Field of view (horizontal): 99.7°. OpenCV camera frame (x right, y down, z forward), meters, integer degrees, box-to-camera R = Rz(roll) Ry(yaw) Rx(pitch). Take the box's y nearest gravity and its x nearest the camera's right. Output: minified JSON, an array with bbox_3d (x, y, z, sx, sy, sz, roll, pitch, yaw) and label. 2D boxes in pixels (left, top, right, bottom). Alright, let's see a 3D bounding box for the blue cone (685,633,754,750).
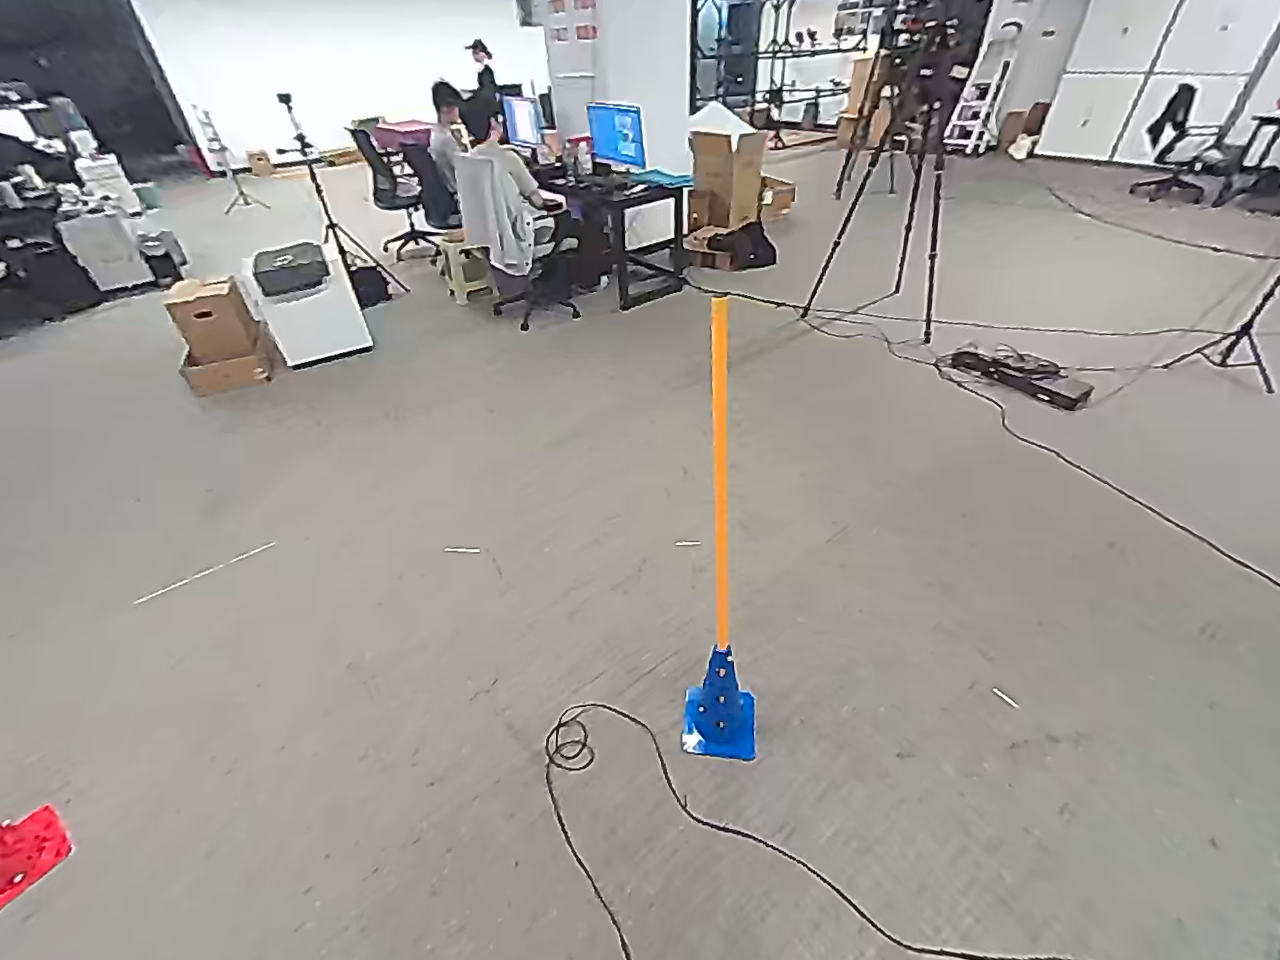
[{"bbox_3d":[0.214,0.539,1.439,0.192,0.380,0.193,2,37,8],"label":"blue cone"}]
